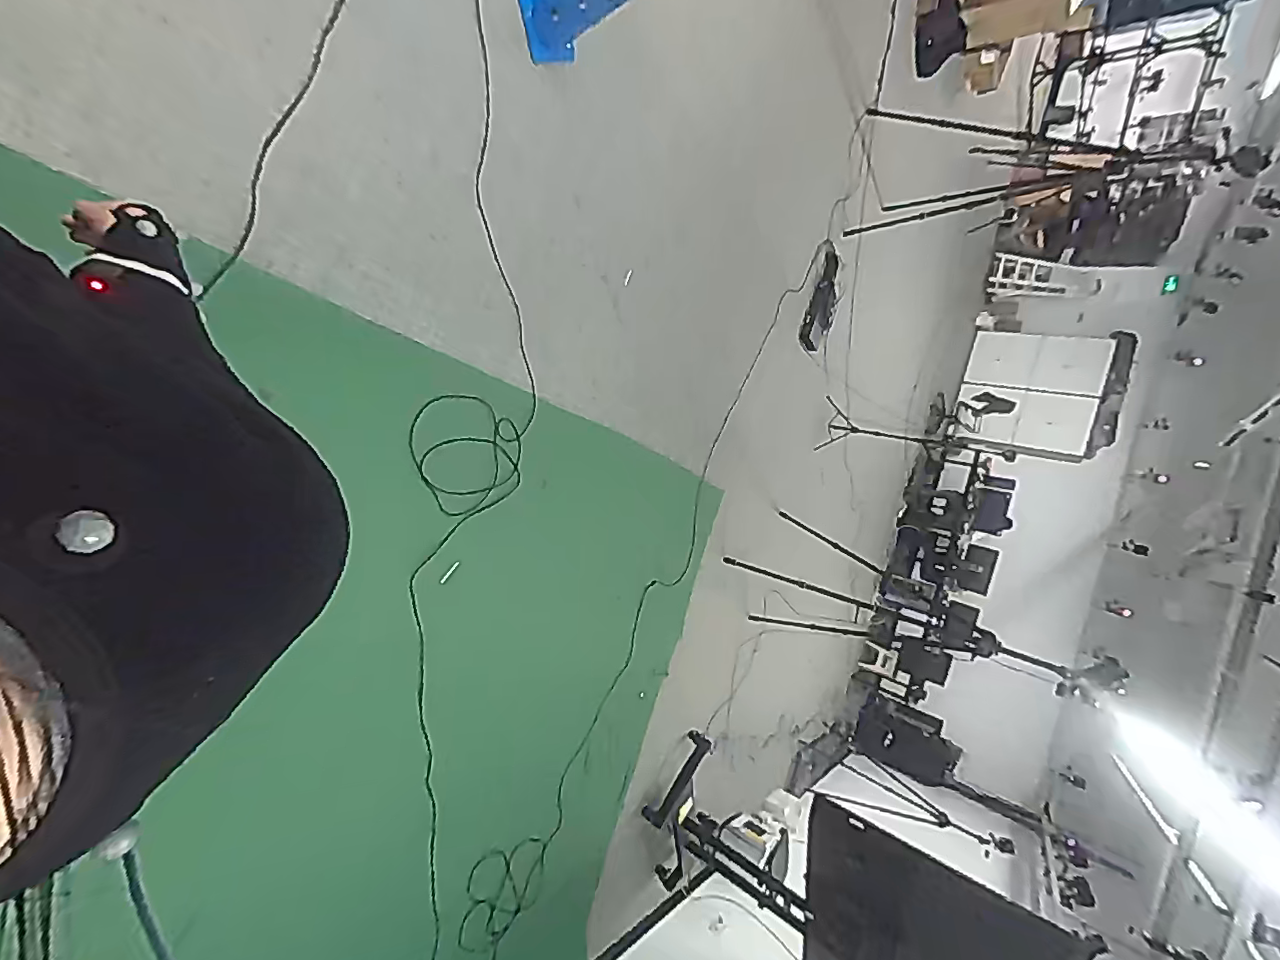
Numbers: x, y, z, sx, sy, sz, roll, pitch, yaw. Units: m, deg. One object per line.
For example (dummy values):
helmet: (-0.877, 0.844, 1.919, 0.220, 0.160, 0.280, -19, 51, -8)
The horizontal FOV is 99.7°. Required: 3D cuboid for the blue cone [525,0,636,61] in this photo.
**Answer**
blue cone: (-0.146, -1.392, 1.581, 0.193, 0.380, 0.192, -44, 133, -38)
